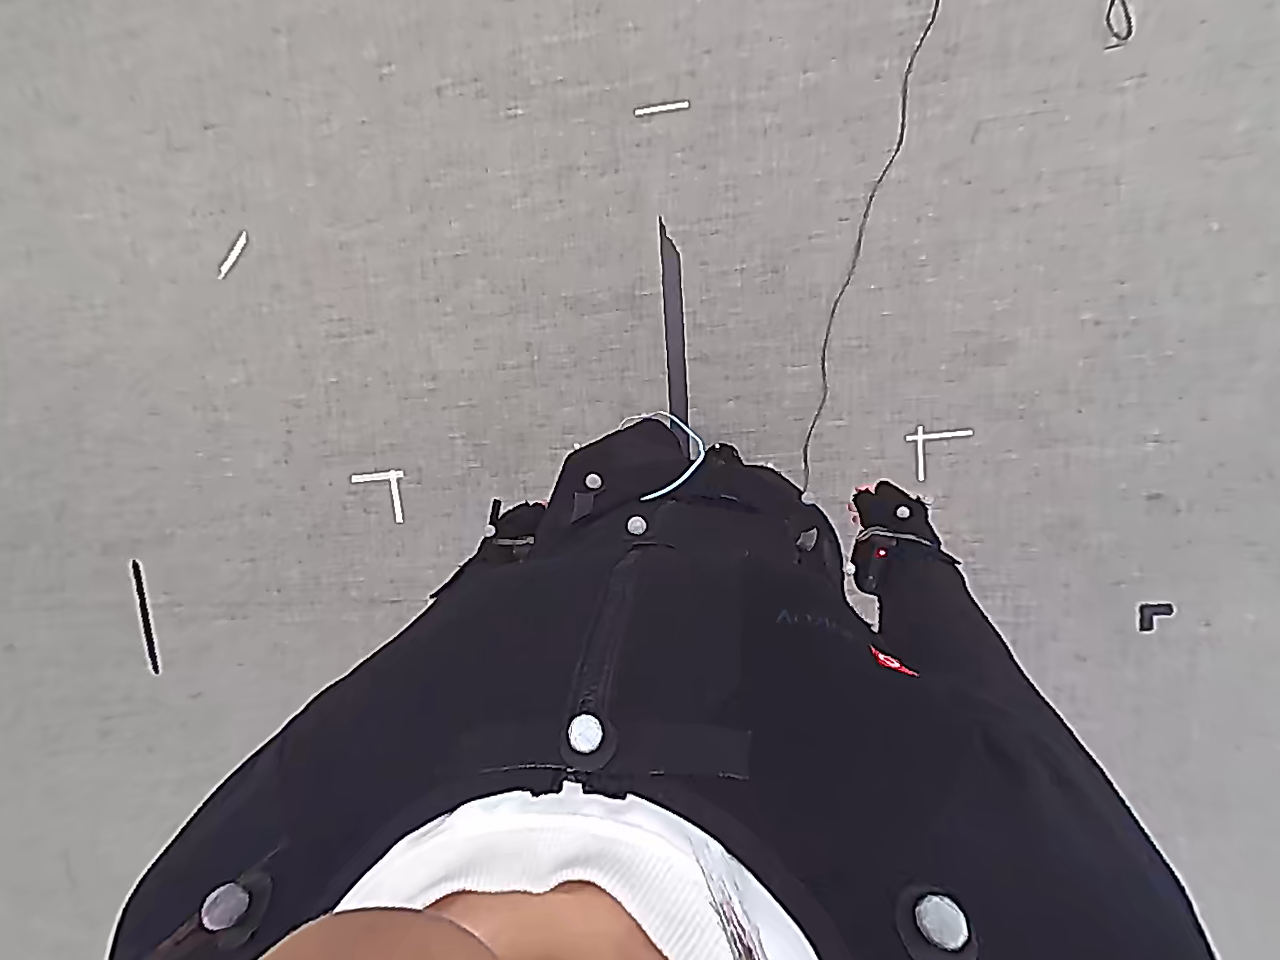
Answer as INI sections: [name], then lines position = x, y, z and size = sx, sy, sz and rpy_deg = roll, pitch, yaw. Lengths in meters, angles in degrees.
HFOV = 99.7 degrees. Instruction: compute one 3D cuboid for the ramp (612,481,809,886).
[ramp]
position = 0.166, 0.505, 1.419
size = 0.509, 0.206, 0.991
rpy_deg = -4, 94, 12
